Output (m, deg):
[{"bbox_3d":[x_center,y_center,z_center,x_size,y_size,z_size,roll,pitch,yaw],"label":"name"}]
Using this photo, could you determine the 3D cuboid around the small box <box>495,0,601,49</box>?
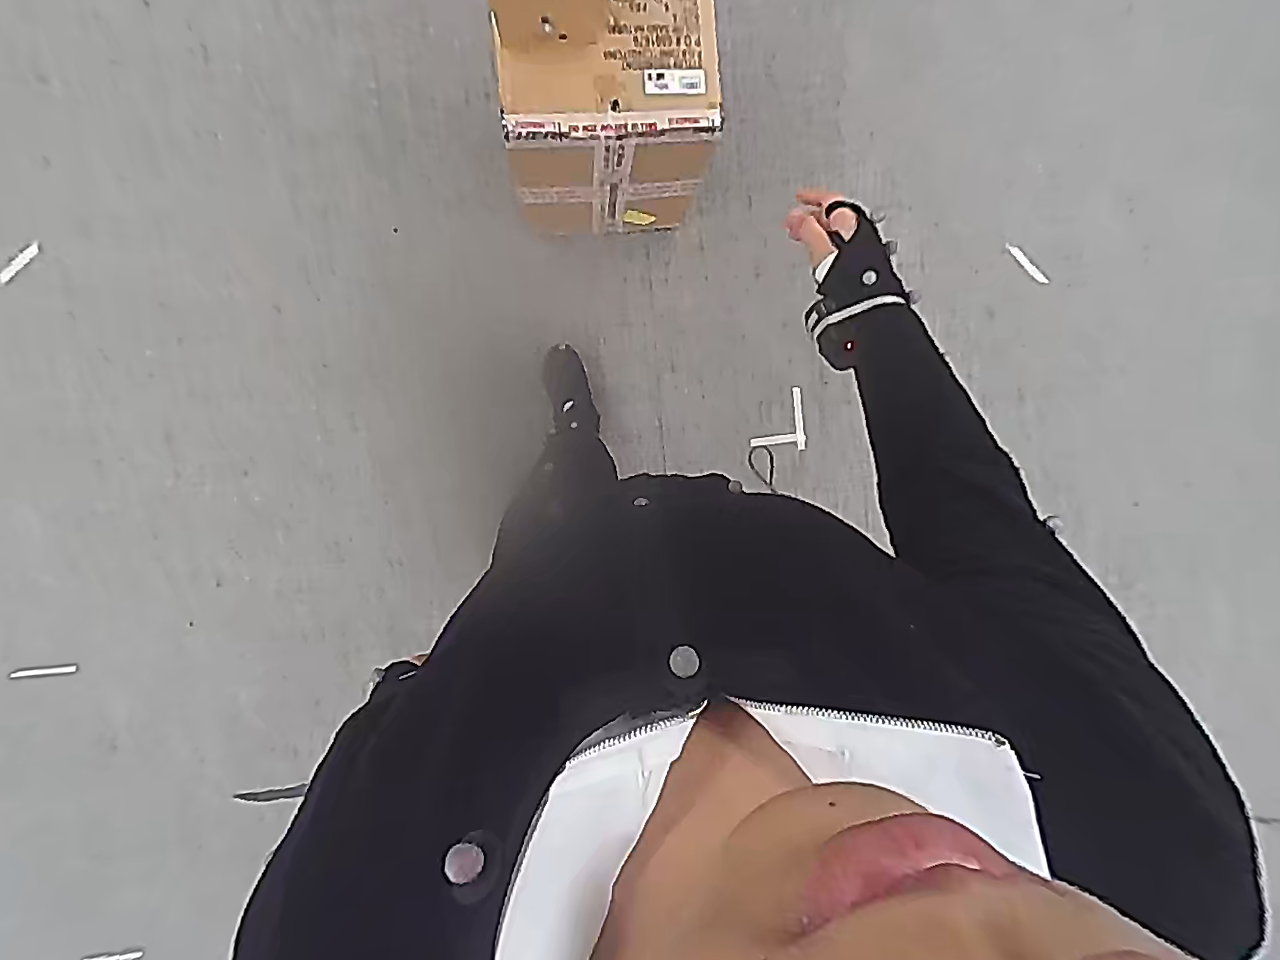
[{"bbox_3d":[-0.150,-0.816,0.832,0.168,0.176,0.179,-6,97,-2],"label":"small box"}]
